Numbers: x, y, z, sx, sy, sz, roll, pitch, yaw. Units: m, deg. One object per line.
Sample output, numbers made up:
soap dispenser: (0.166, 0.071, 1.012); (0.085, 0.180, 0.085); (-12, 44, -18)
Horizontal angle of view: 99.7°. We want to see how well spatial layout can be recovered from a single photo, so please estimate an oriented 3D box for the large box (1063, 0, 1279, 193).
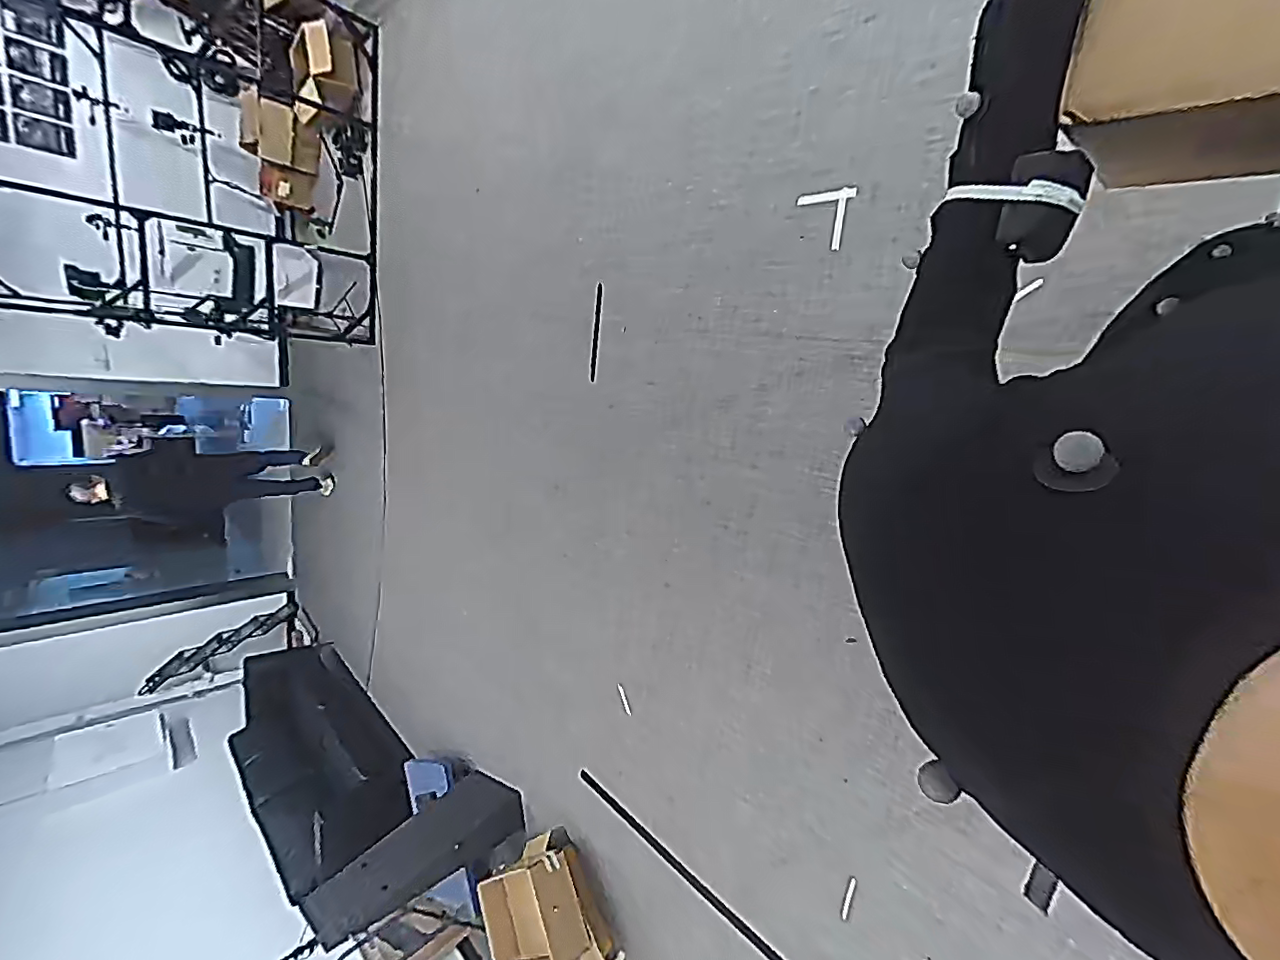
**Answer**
large box: (0.550, -0.388, 0.323); (0.408, 0.320, 0.320); (17, 115, 40)
